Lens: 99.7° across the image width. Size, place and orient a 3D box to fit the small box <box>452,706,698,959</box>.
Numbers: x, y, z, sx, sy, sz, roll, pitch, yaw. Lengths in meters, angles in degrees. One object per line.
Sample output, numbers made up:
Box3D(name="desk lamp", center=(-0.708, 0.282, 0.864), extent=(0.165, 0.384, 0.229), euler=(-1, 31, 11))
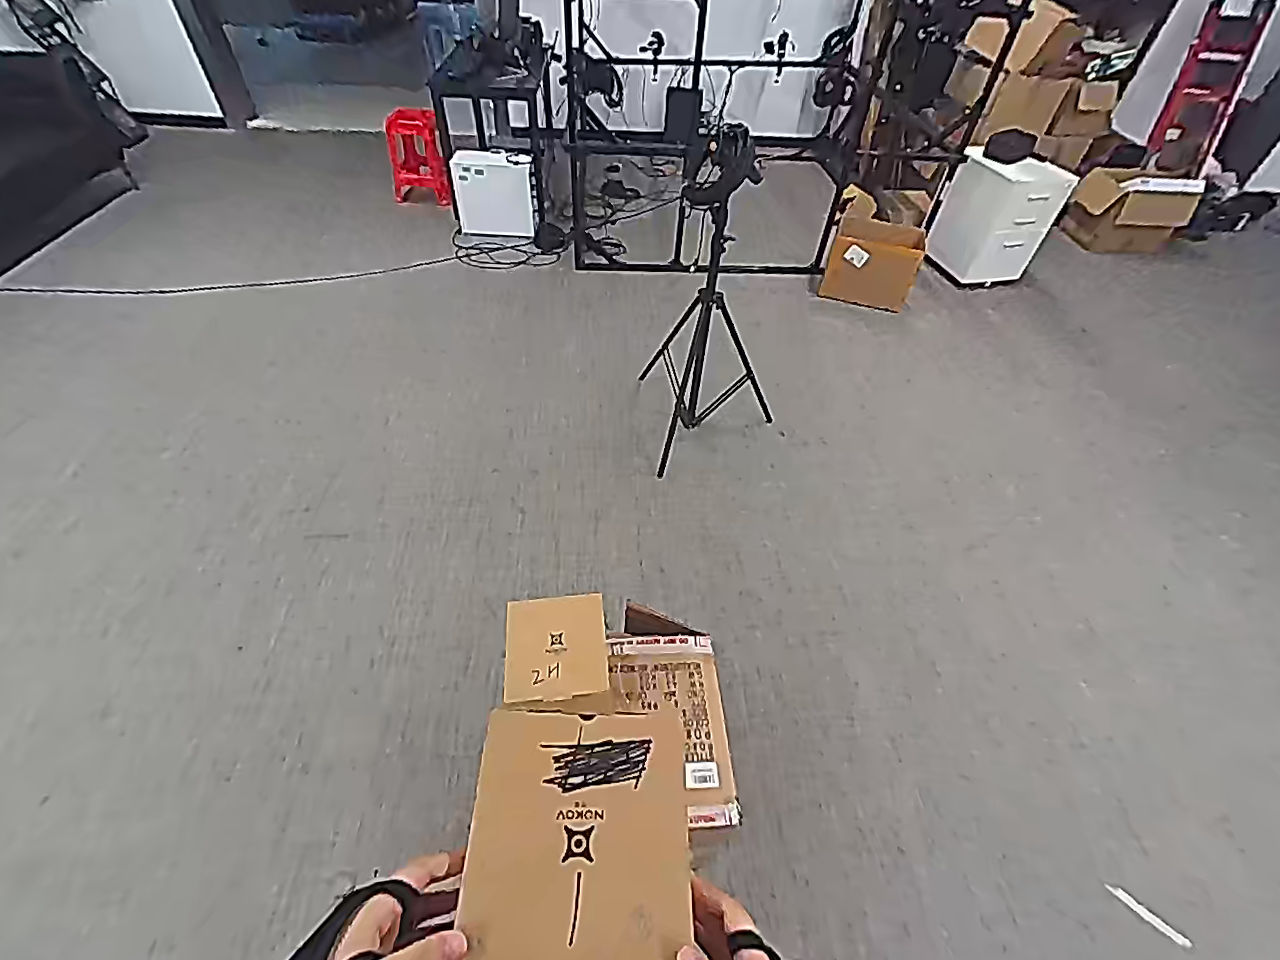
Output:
Box3D(name="small box", center=(-0.049, 0.315, 0.467), extent=(0.168, 0.176, 0.179), euler=(3, 48, -4))

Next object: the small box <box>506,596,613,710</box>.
Box3D(name="small box", center=(-0.136, 0.327, 0.946), extent=(0.168, 0.176, 0.179), euler=(-5, 51, -5))
